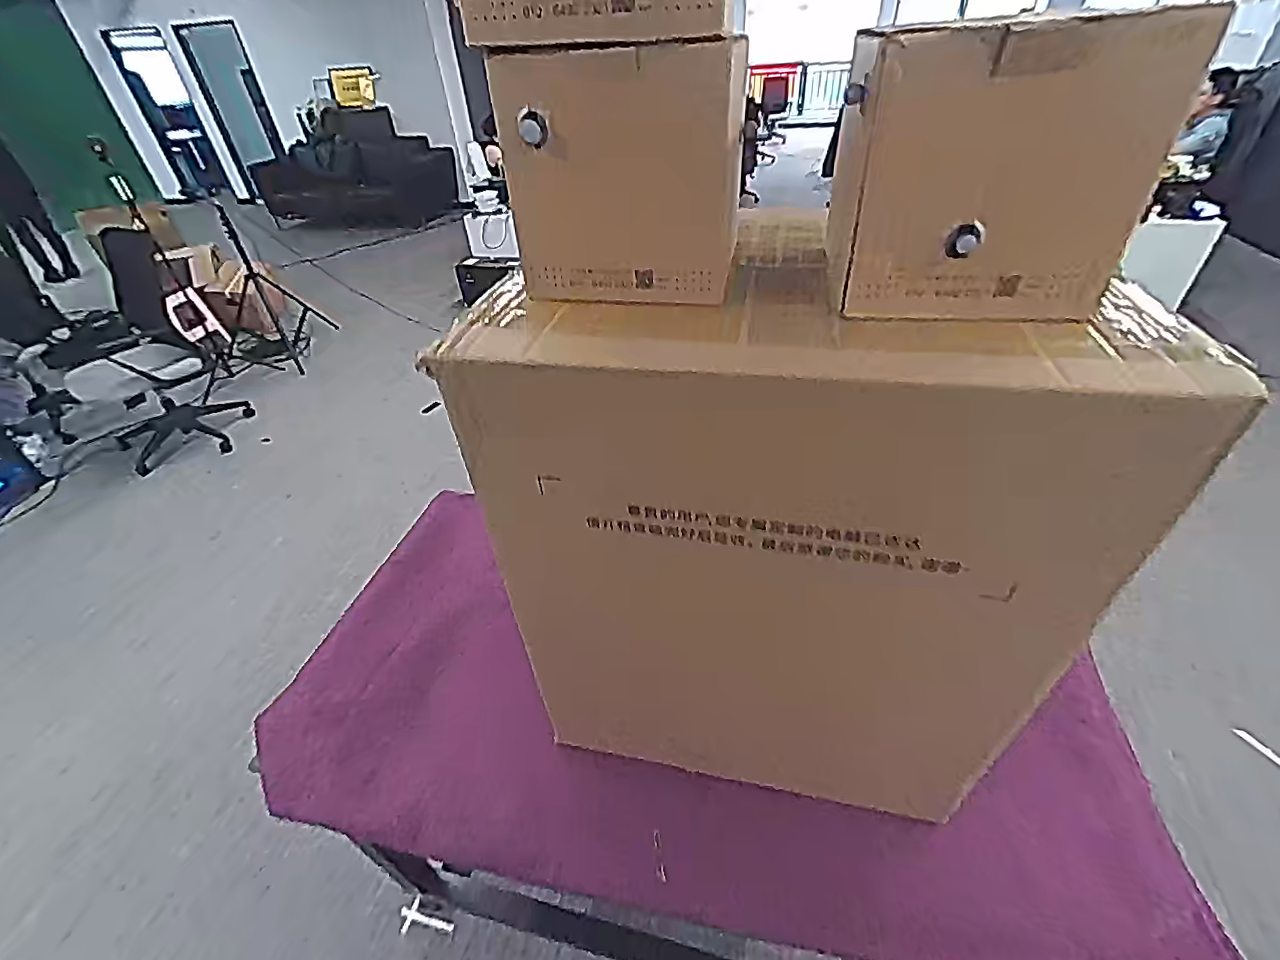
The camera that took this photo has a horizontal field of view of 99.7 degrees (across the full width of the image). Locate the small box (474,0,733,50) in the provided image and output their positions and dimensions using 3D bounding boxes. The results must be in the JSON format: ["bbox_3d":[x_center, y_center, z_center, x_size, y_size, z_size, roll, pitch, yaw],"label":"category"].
[{"bbox_3d":[-0.019,-0.391,0.349,0.168,0.176,0.179,4,39,8],"label":"small box"}]

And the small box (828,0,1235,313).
[{"bbox_3d":[0.240,-0.236,0.398,0.168,0.176,0.179,3,40,11],"label":"small box"}]
